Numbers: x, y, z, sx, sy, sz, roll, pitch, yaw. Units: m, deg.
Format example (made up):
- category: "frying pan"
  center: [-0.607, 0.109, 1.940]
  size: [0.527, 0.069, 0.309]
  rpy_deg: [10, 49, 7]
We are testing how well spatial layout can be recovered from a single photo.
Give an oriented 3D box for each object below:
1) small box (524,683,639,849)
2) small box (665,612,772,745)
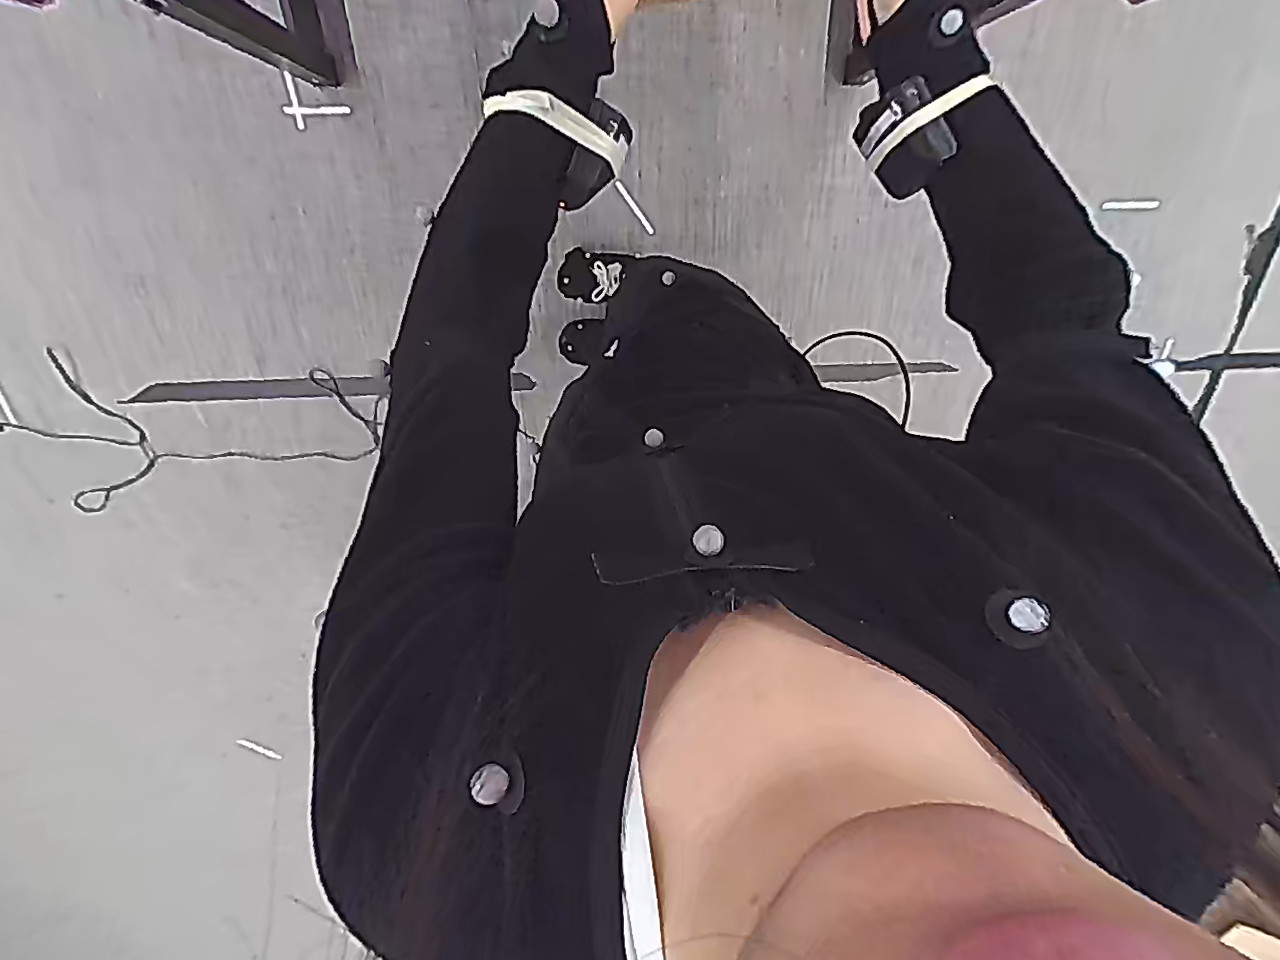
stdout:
- category: "small box"
  center: [-0.092, 0.455, 0.873]
  size: [0.168, 0.176, 0.179]
  rpy_deg: [-1, 115, -6]
- category: "small box"
  center: [0.142, 0.379, 1.043]
  size: [0.168, 0.176, 0.179]
  rpy_deg: [-3, 118, -5]
